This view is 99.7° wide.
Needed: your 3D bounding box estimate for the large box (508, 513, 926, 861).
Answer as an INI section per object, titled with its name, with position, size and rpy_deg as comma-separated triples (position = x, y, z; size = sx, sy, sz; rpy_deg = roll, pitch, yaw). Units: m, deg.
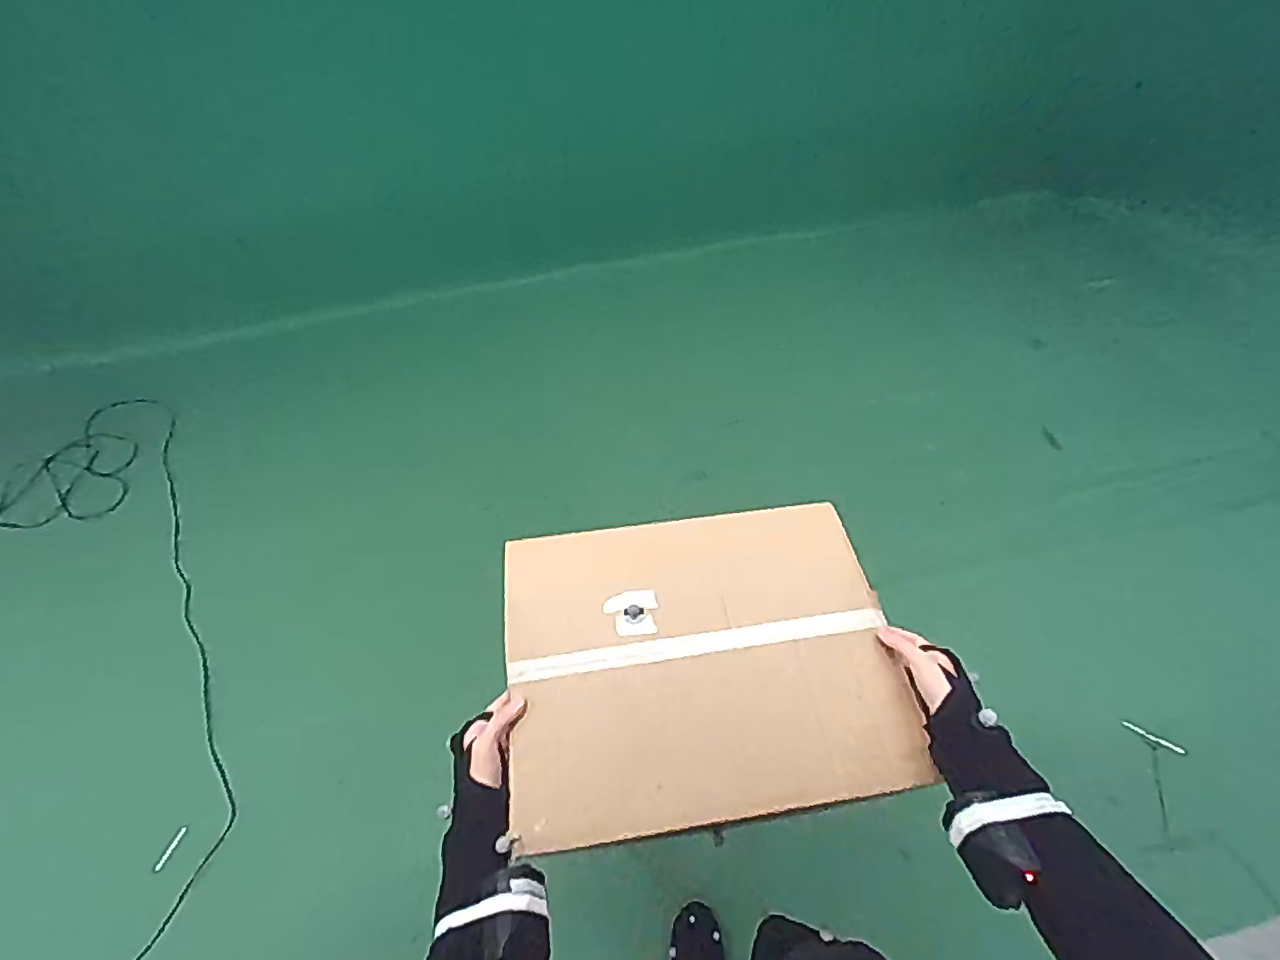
[large box]
position = 0.062, 0.274, 0.707
size = 0.408, 0.320, 0.320
rpy_deg = -7, 55, -4
